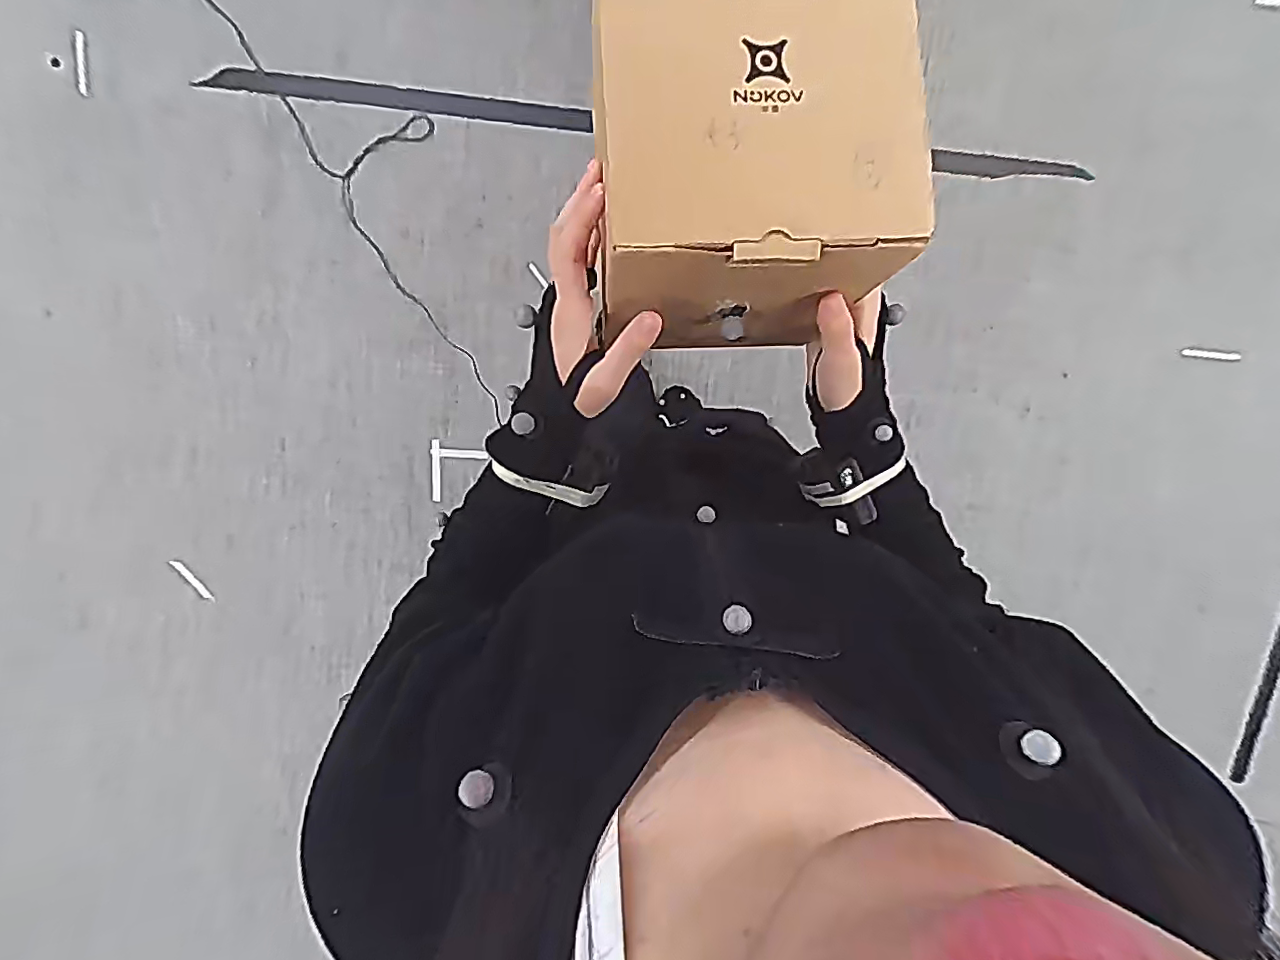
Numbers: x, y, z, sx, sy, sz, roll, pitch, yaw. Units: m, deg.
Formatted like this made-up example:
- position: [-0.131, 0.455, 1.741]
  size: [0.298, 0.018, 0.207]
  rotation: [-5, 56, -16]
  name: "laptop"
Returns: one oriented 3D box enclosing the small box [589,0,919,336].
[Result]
- position: [0.053, -0.200, 0.355]
  size: [0.168, 0.176, 0.179]
  rotation: [-3, 87, -5]
  name: "small box"
